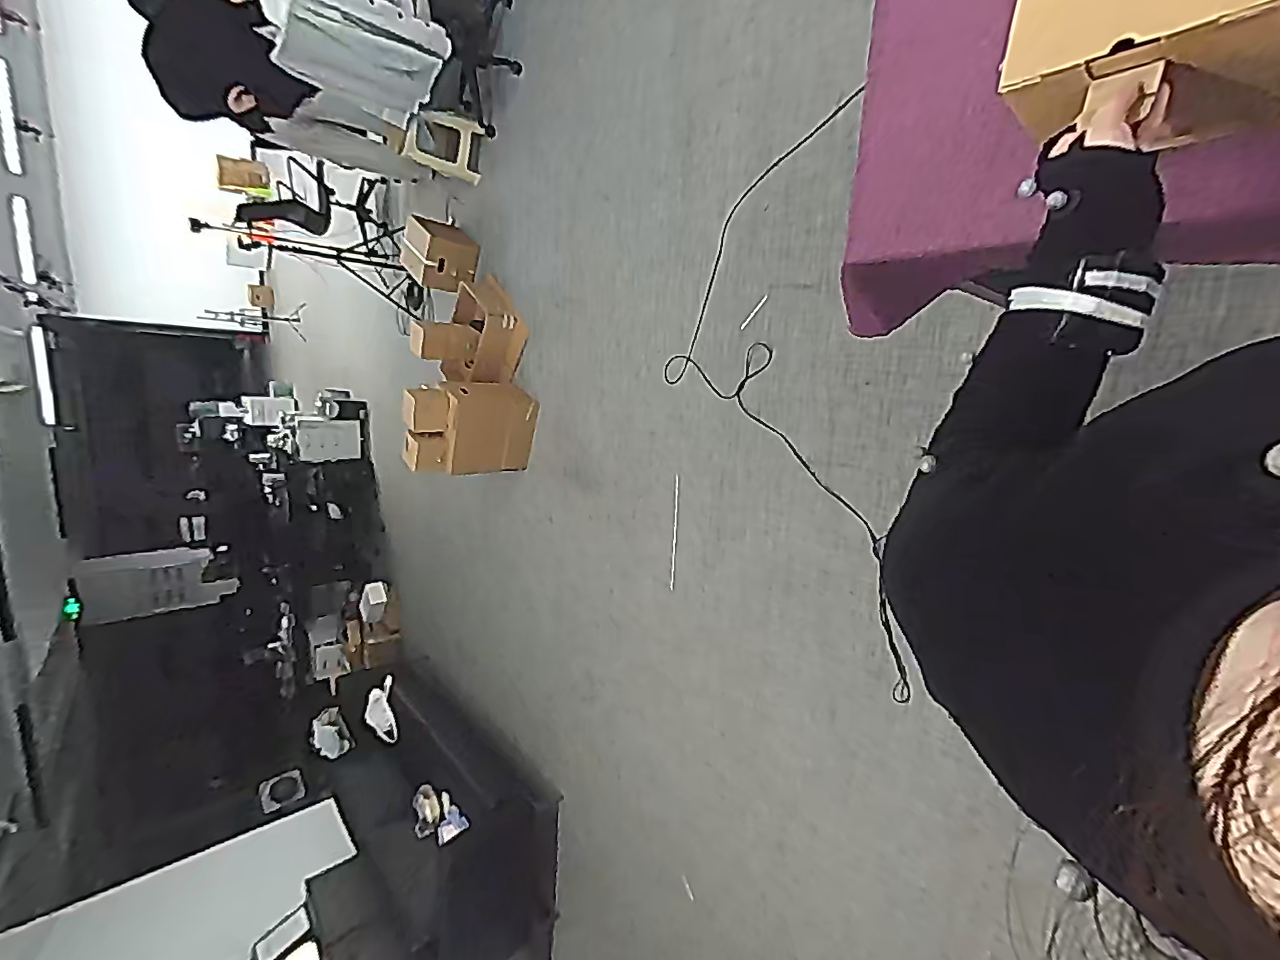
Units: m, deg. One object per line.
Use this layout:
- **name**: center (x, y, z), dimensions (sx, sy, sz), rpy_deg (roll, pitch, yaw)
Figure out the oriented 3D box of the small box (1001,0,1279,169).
- **small box**: center (0.448, -0.408, 0.466), dimensions (0.168, 0.176, 0.179), rpy_deg (16, 100, 49)
